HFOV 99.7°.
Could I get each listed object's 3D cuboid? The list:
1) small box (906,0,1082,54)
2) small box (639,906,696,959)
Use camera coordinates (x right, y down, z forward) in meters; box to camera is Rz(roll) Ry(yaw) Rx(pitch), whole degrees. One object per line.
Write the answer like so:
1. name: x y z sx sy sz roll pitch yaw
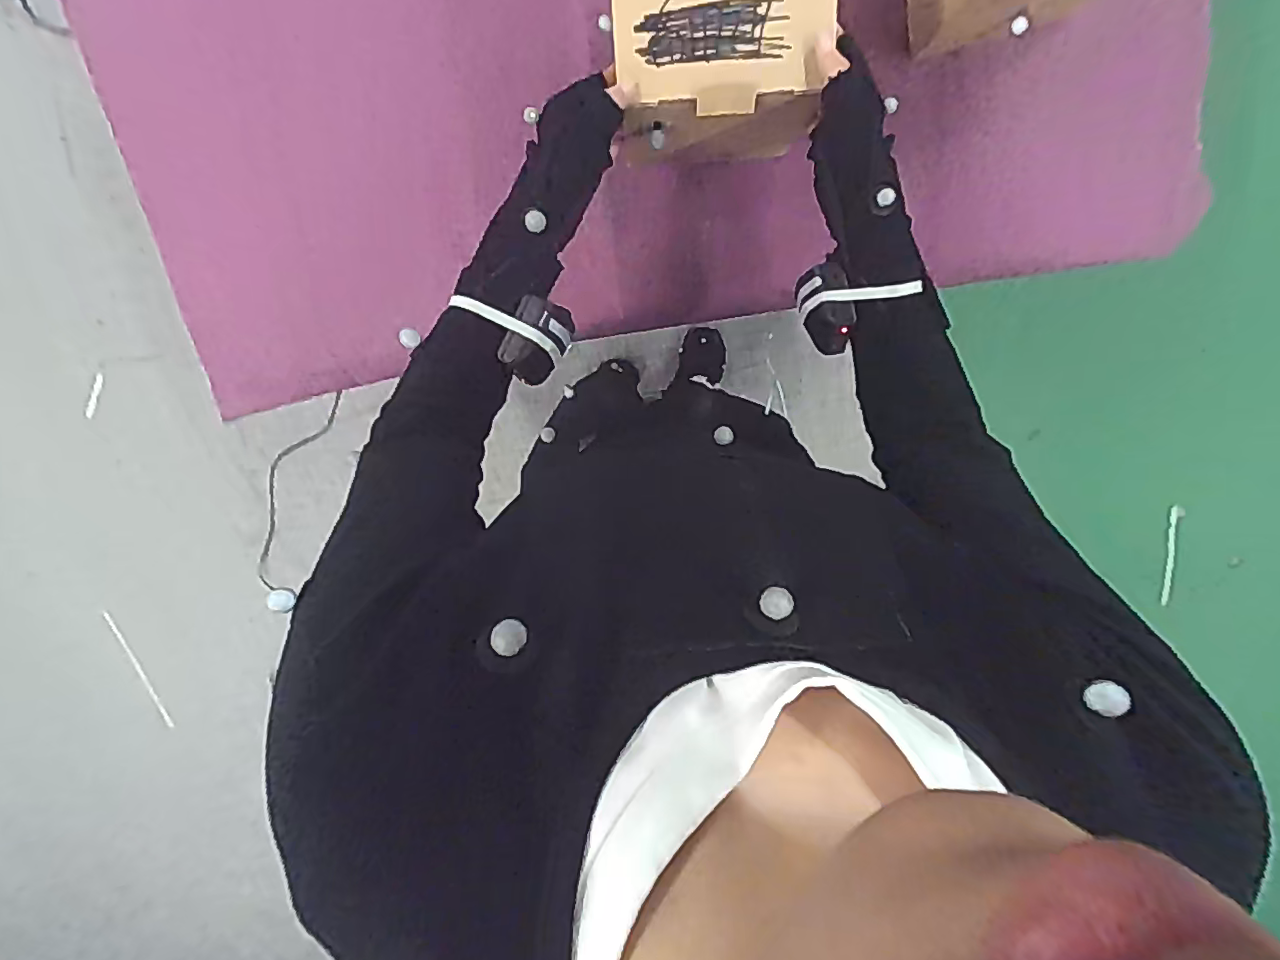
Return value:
1. small box: 0.349 -0.531 0.478 0.168 0.176 0.179 -12 107 6
2. small box: 0.095 1.630 1.885 0.168 0.176 0.179 -17 107 4
